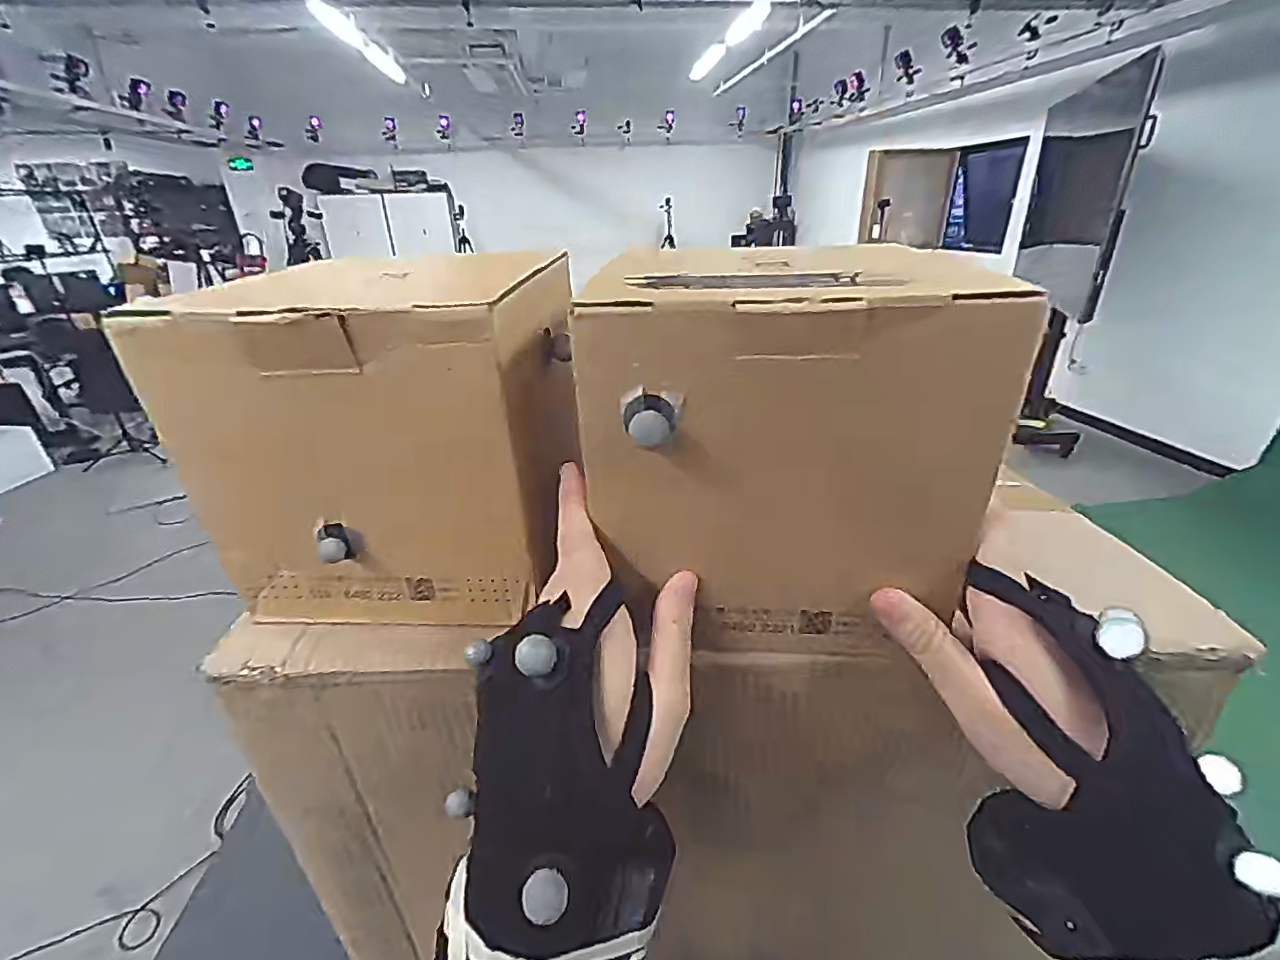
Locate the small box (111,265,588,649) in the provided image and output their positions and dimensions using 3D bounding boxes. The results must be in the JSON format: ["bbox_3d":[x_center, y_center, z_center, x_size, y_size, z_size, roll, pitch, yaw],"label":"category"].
[{"bbox_3d":[-0.126,-0.027,0.321,0.168,0.176,0.179,0,30,4],"label":"small box"}]
